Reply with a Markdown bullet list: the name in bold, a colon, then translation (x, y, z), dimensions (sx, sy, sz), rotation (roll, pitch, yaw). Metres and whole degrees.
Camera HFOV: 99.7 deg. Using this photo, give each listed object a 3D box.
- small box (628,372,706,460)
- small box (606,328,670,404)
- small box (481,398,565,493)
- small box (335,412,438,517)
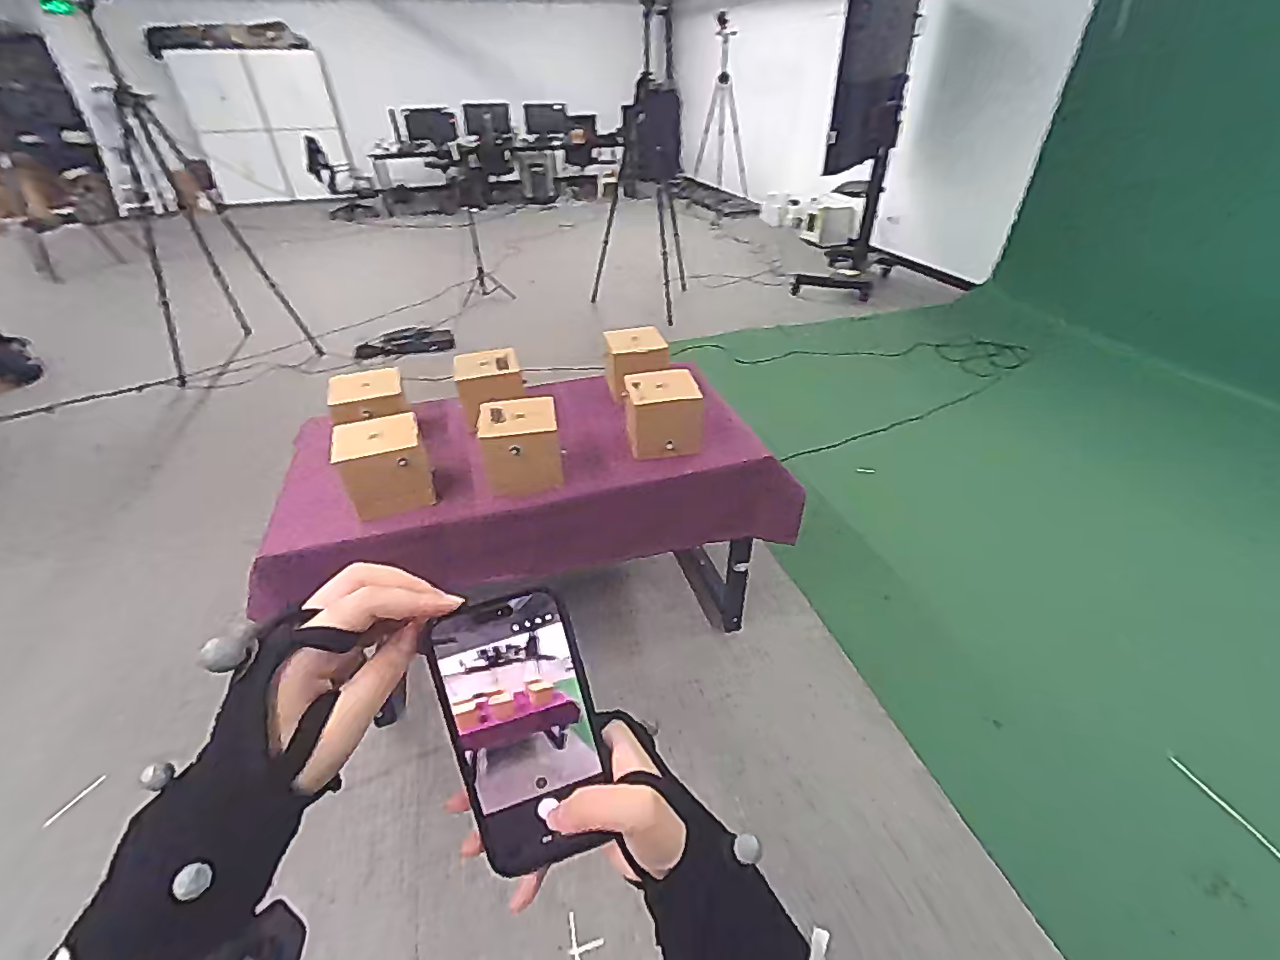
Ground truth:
- **small box**: translation (0.064, -0.168, 1.424), dimensions (0.179, 0.176, 0.168), rotation (-6, 37, -7)
- **small box**: translation (-0.009, -0.351, 1.668), dimensions (0.168, 0.176, 0.179), rotation (-9, 38, -10)
- **small box**: translation (-0.281, -0.082, 1.317), dimensions (0.179, 0.176, 0.168), rotation (-6, 37, -9)
- **small box**: translation (-0.585, -0.034, 1.260), dimensions (0.179, 0.176, 0.168), rotation (-13, 38, -18)
